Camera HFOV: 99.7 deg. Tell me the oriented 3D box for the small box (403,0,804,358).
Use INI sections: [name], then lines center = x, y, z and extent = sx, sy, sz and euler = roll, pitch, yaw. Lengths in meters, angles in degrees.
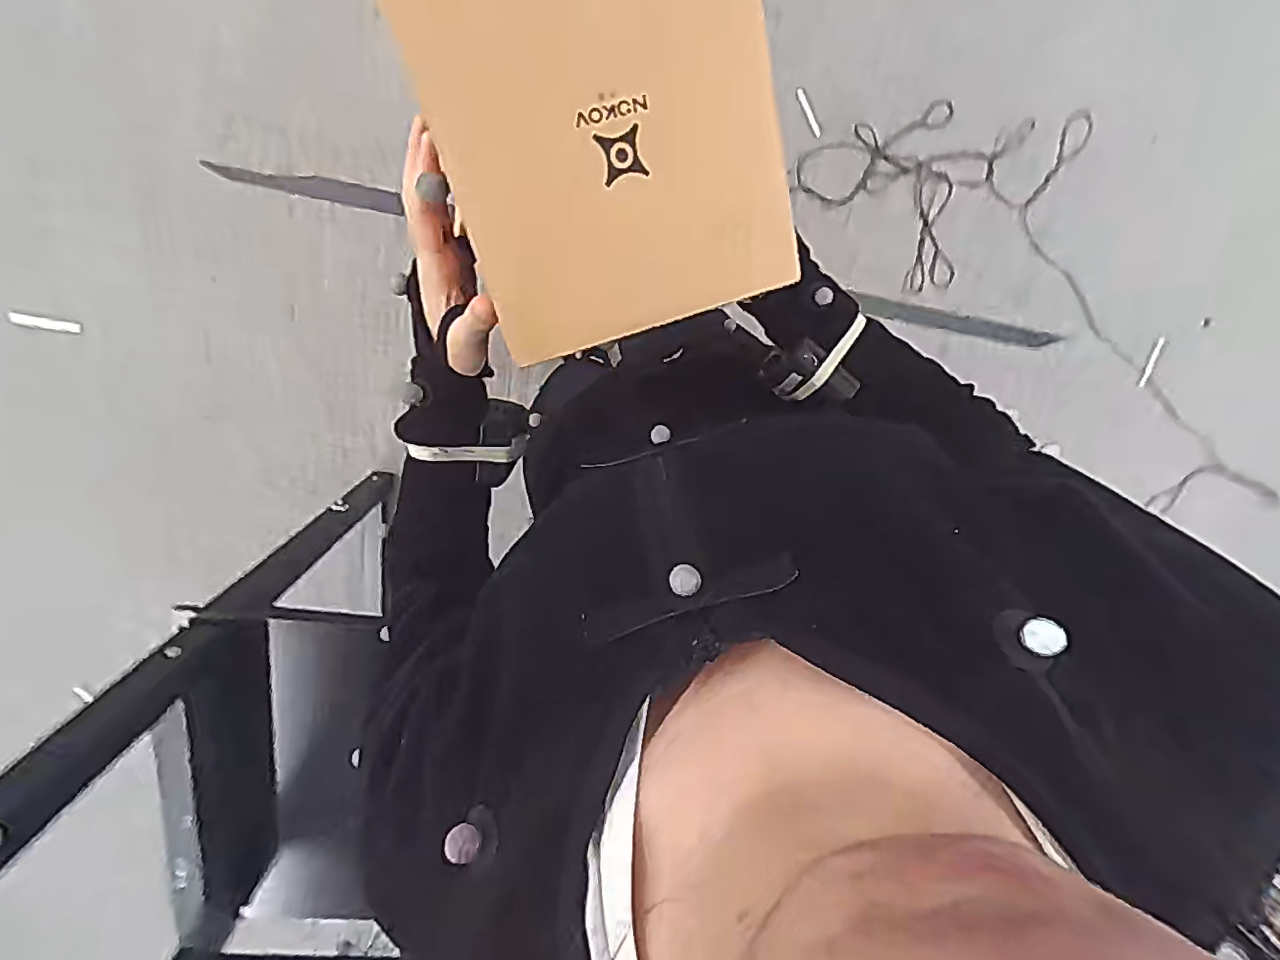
[small box]
center = -0.022, -0.191, 0.334
extent = 0.168, 0.176, 0.179
euler = -19, 112, -7
